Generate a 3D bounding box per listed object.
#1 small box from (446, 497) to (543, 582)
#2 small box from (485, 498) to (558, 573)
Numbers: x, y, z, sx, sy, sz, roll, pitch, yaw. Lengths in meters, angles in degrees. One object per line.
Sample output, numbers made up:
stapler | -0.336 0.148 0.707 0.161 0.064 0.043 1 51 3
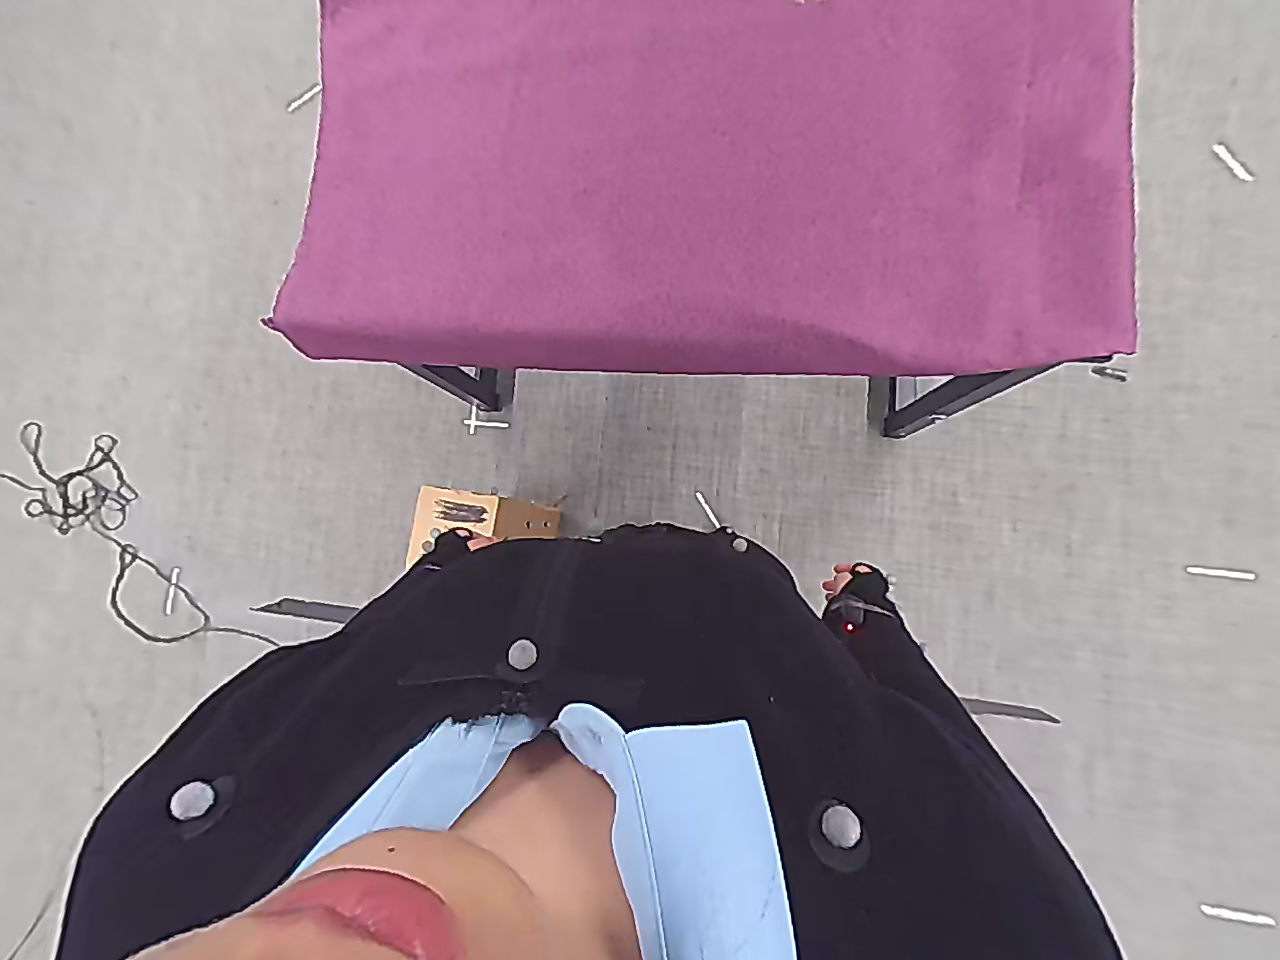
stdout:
small box | -0.339 0.141 1.295 0.168 0.176 0.179 6 85 6
small box | -0.331 0.153 1.459 0.168 0.176 0.179 11 86 6
